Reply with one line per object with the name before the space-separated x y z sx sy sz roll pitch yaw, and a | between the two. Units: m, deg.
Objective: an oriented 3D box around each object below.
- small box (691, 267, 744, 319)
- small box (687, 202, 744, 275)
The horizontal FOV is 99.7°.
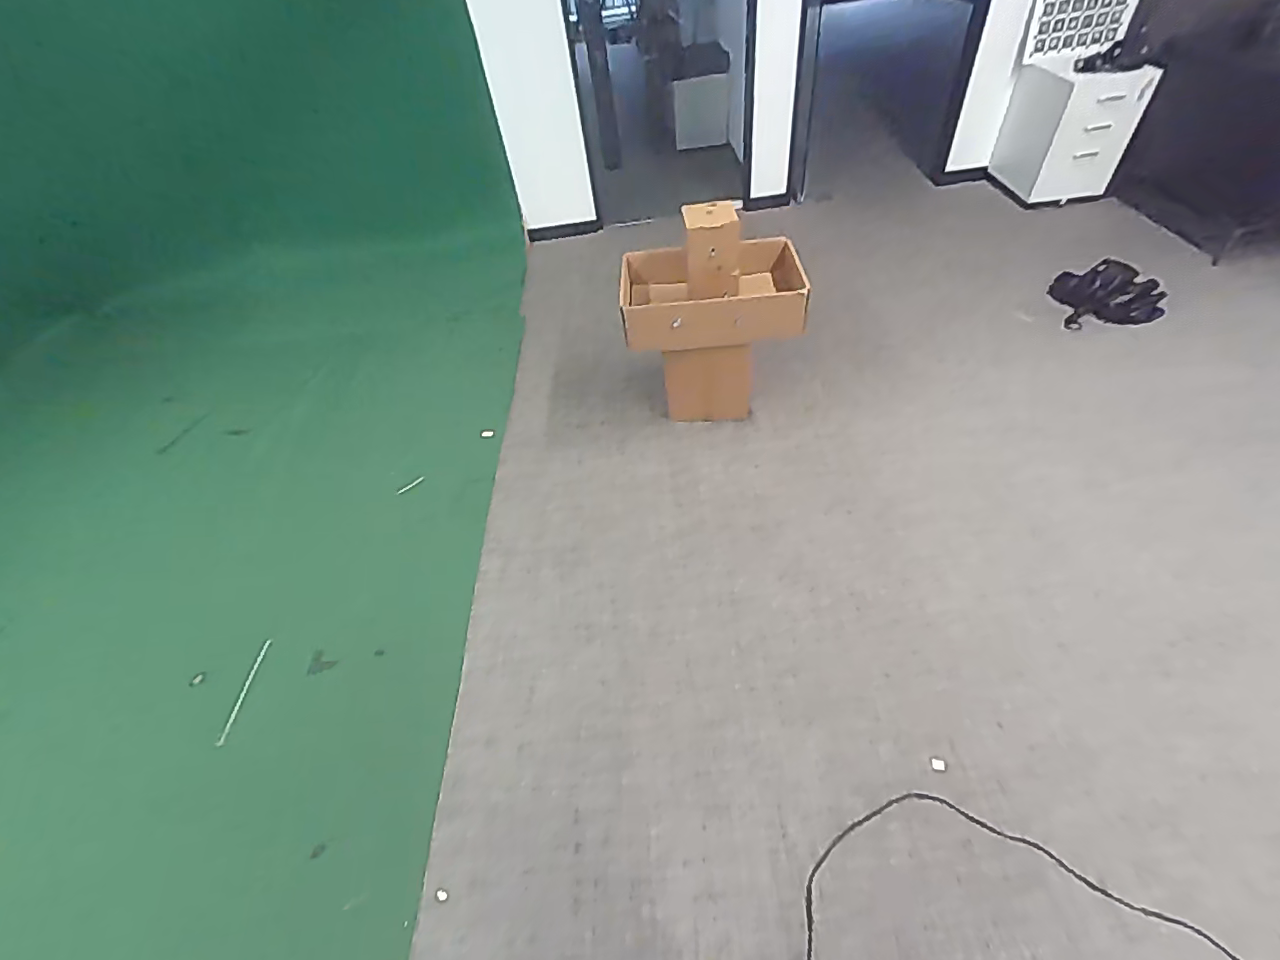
small box | 0.273 -0.682 1.909 0.168 0.176 0.179 -5 45 3
small box | 0.249 -0.794 1.791 0.168 0.176 0.179 -5 48 3
